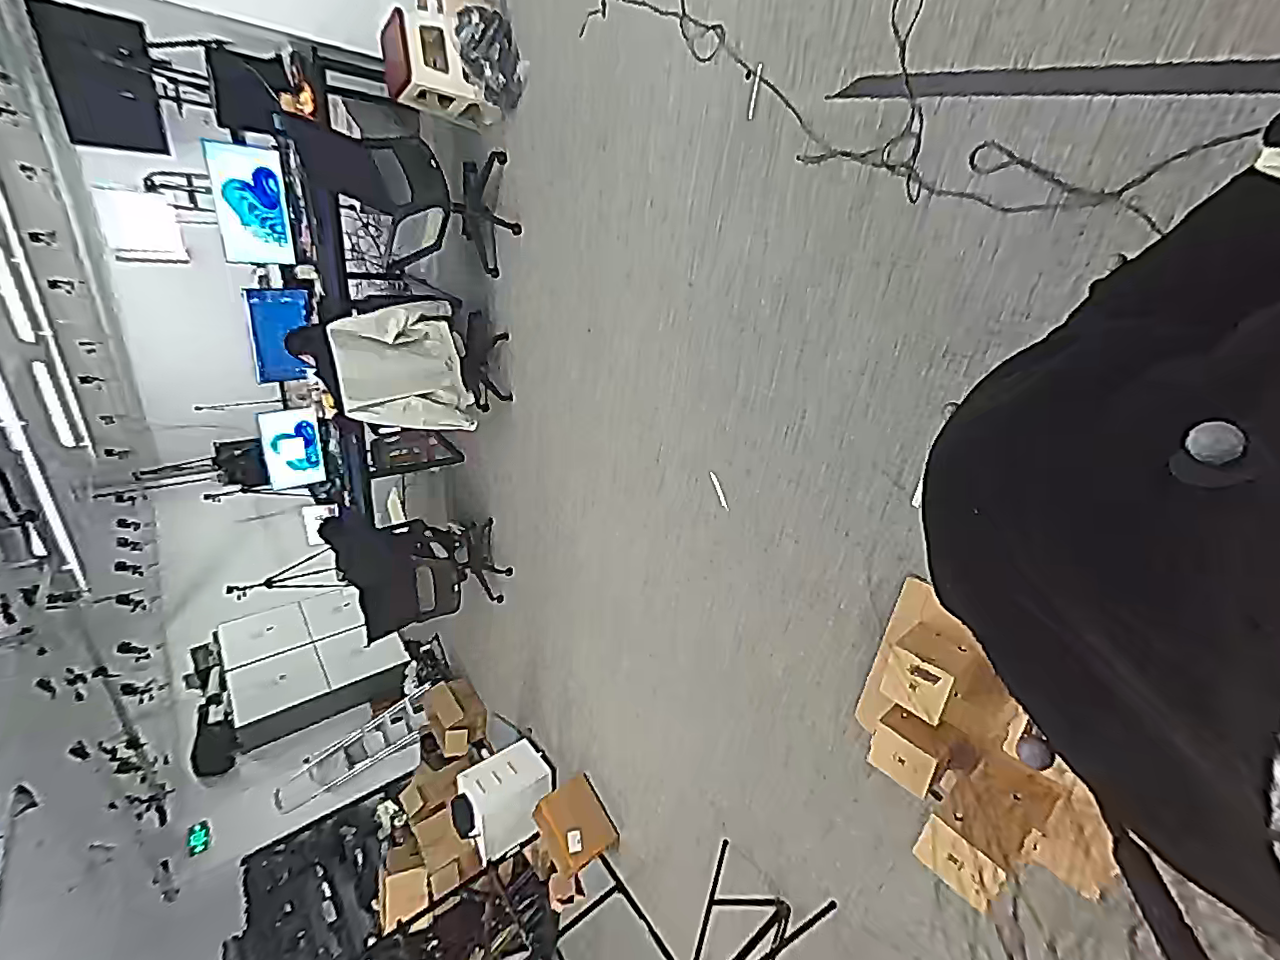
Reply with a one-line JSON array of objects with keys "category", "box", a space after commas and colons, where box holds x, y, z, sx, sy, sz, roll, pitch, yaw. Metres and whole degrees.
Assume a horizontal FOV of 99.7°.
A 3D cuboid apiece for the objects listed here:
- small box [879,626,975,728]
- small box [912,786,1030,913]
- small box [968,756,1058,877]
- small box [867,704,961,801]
[{"category": "small box", "box": [0.806, 0.539, 1.511, 0.168, 0.176, 0.179, 28, 123, 43]}, {"category": "small box", "box": [0.820, 0.900, 1.341, 0.179, 0.176, 0.168, 32, 126, 42]}, {"category": "small box", "box": [0.961, 0.875, 1.427, 0.179, 0.176, 0.168, 27, 121, 43]}, {"category": "small box", "box": [0.807, 0.787, 1.596, 0.179, 0.176, 0.168, 27, 123, 43]}]
